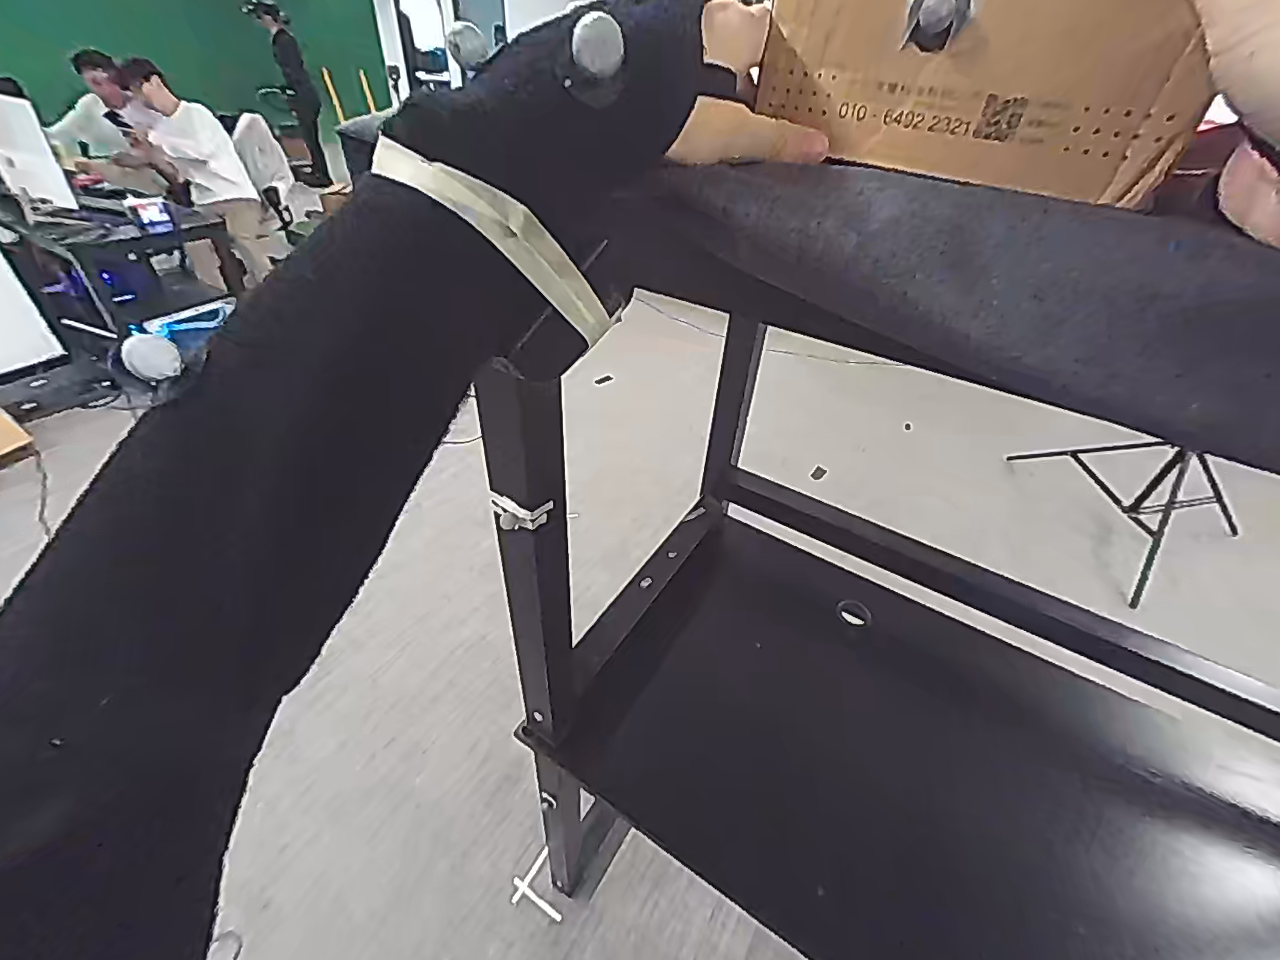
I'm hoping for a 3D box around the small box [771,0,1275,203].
[{"bbox_3d":[0.175,-0.240,0.241,0.168,0.176,0.179,24,42,21],"label":"small box"}]
